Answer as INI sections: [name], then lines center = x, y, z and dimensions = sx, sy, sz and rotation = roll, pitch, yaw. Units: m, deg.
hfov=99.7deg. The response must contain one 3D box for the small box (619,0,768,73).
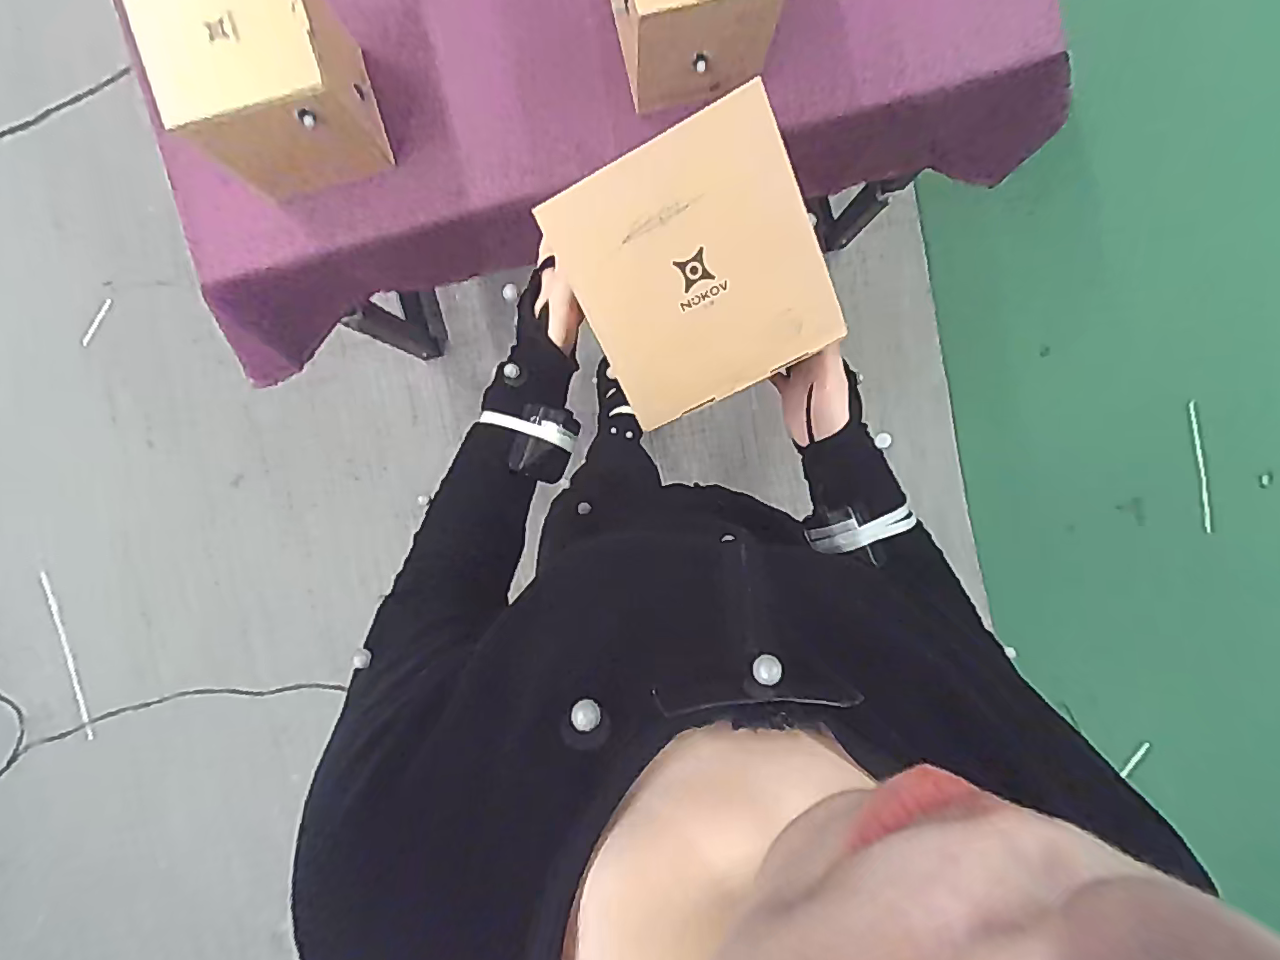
[small box]
center = 0.058, -0.620, 0.632
dimensions = 0.168, 0.176, 0.179
rotation = -12, 93, 1
